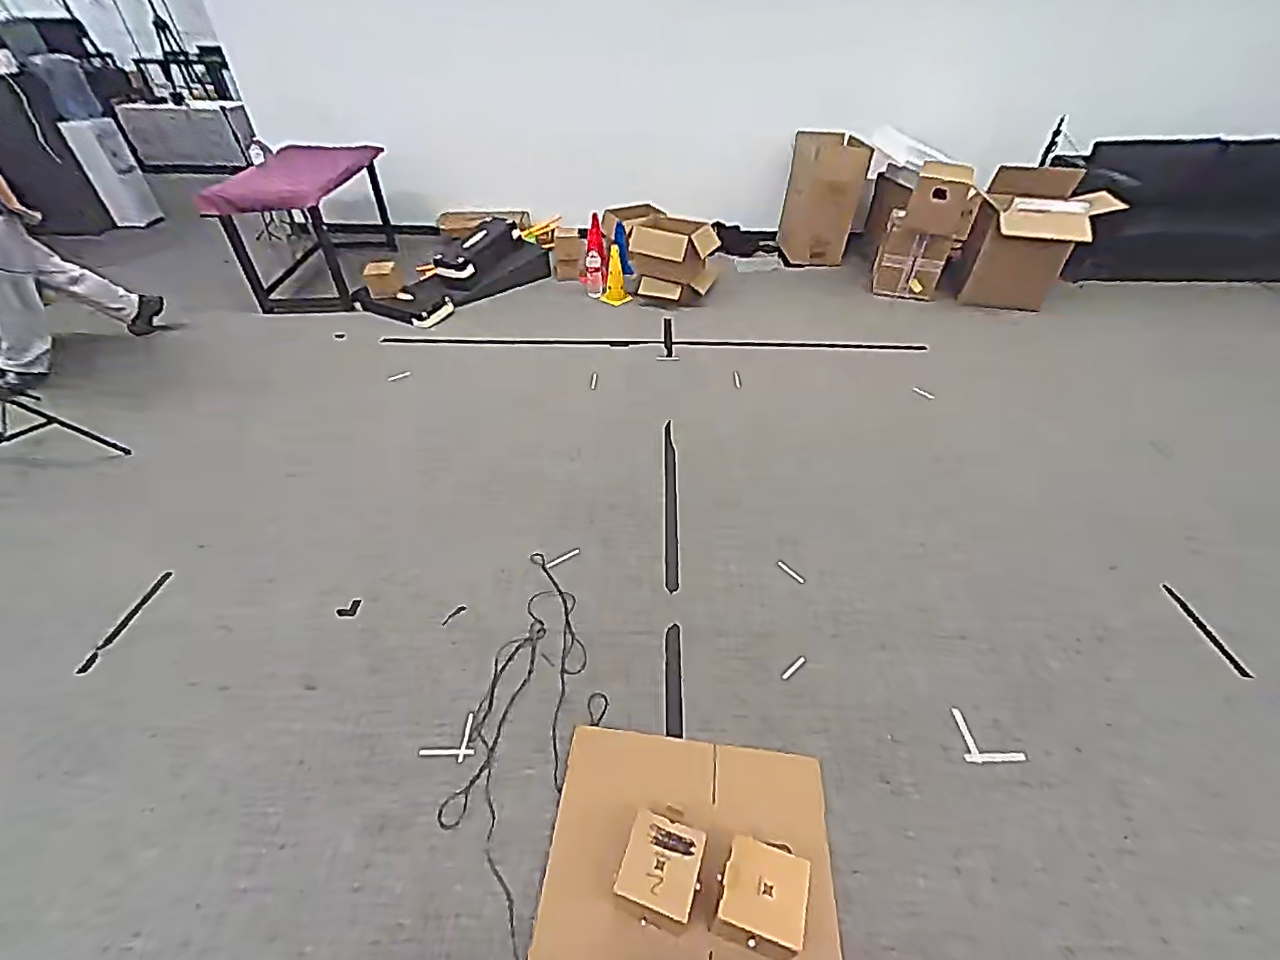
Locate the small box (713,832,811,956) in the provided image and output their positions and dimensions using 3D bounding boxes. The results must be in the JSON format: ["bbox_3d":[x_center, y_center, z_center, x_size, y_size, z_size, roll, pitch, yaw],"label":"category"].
[{"bbox_3d":[0.275,0.945,1.229,0.179,0.176,0.168,13,43,14],"label":"small box"}]
